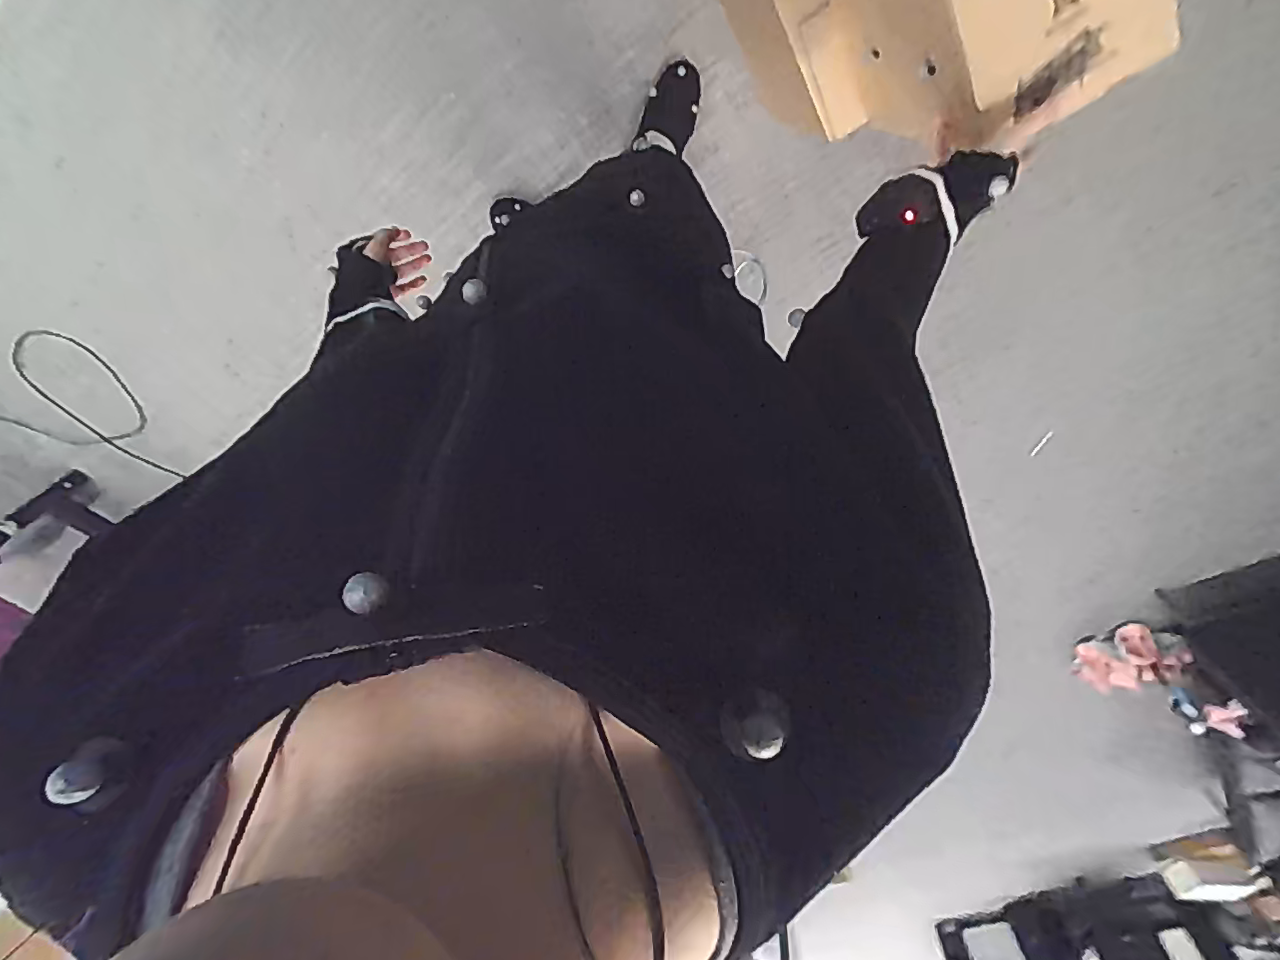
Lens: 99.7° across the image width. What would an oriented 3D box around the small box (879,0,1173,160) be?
[{"bbox_3d":[0.366,-0.459,0.534,0.168,0.176,0.179,-28,122,19],"label":"small box"}]
